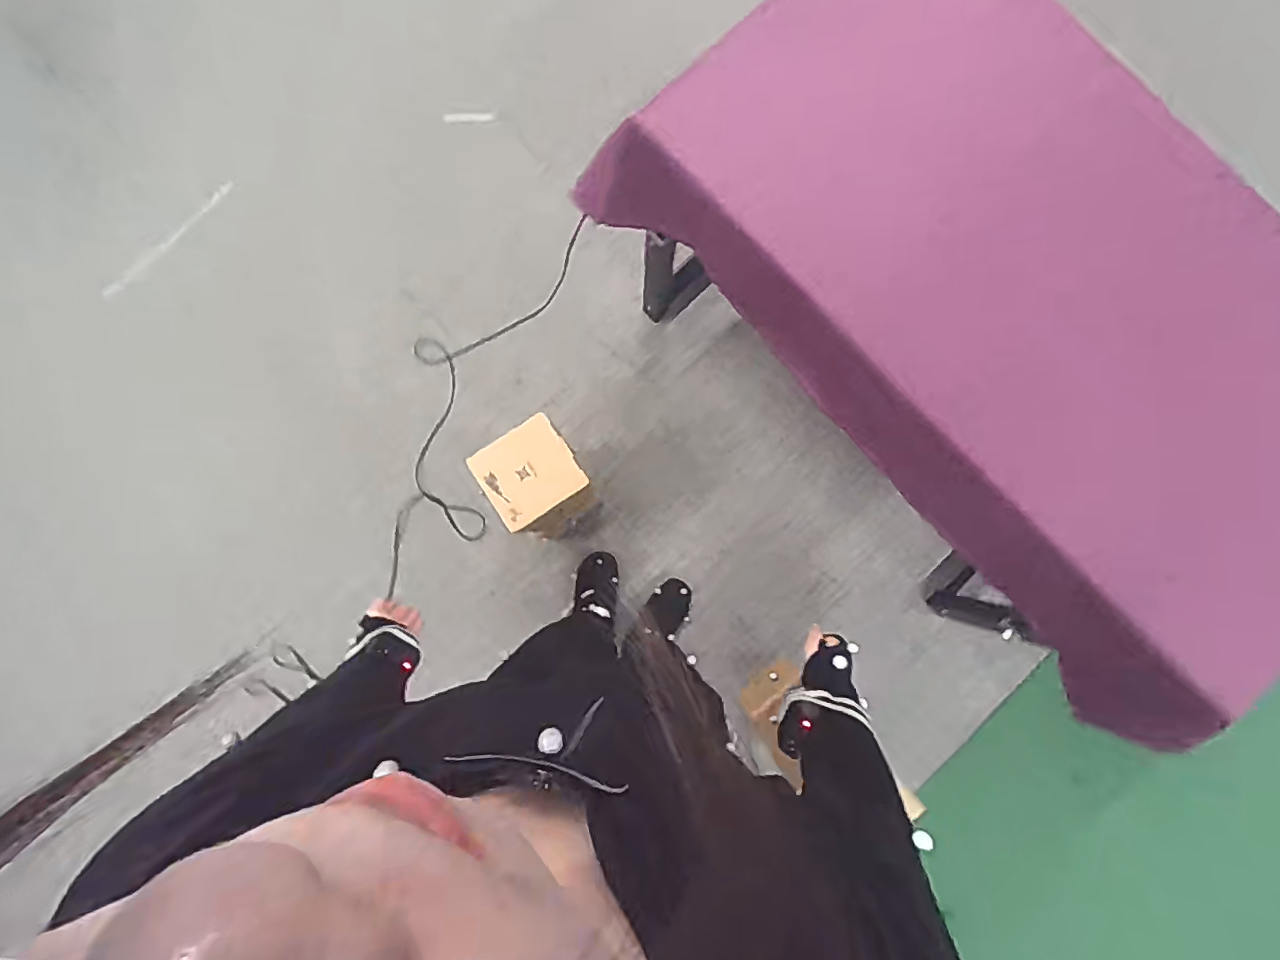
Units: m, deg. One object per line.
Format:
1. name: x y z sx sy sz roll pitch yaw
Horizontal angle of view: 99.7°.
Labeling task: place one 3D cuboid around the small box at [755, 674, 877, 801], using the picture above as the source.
1. small box: 0.386 0.567 1.223 0.168 0.176 0.179 -43 89 -2

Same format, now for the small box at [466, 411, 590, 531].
1. small box: -0.213 -0.013 1.082 0.179 0.176 0.168 -34 87 -4

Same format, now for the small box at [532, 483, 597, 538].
1. small box: -0.226 0.034 1.409 0.179 0.176 0.168 -41 88 -4

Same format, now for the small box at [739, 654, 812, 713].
1. small box: 0.377 0.570 1.386 0.168 0.176 0.179 -40 89 -3
